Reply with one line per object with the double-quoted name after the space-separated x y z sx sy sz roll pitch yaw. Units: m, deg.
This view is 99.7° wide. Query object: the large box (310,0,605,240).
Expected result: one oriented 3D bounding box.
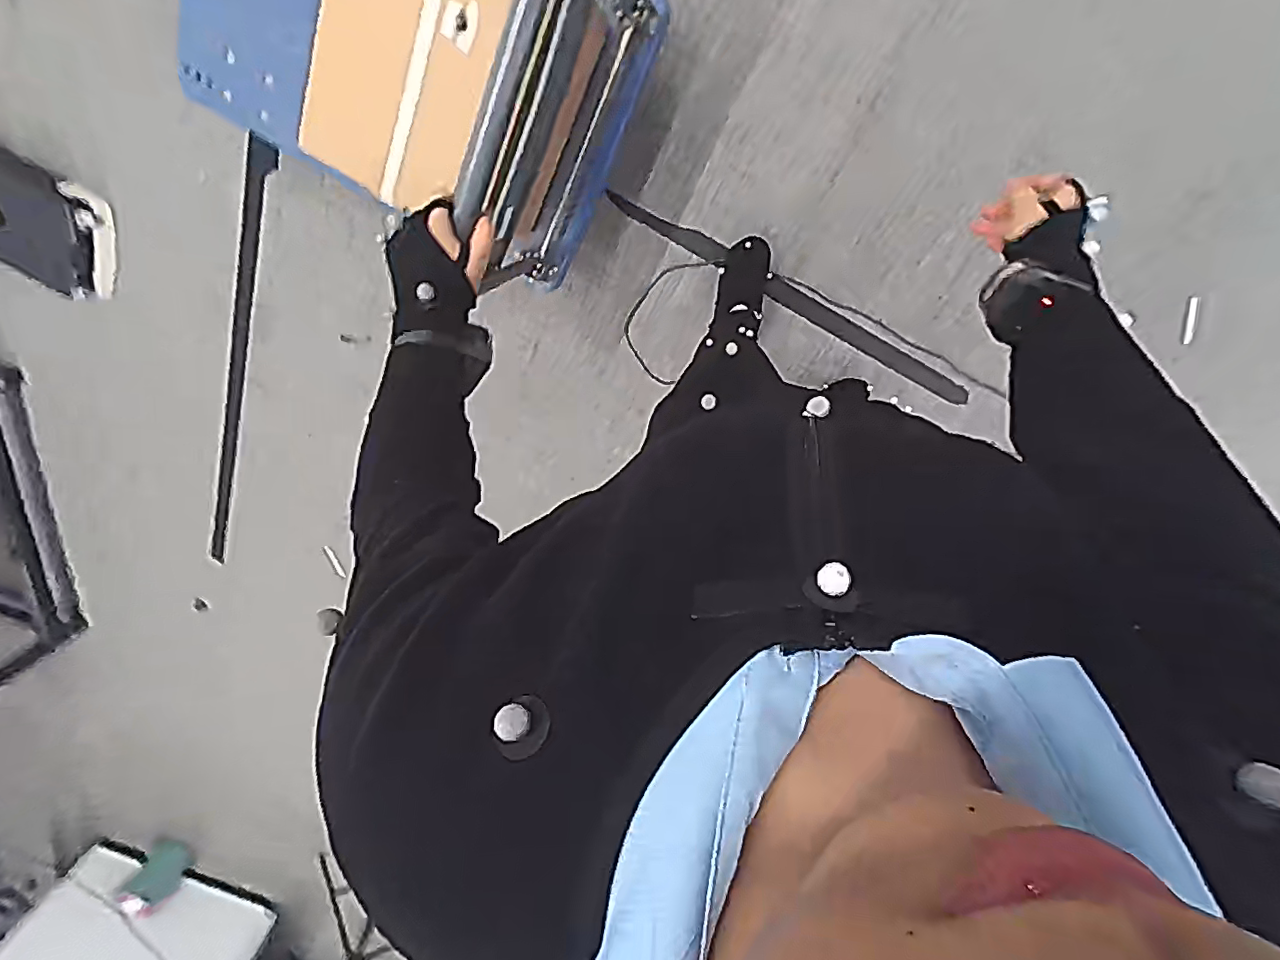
-0.300 -0.682 0.939 0.320 0.320 0.408 27 116 -6 "large box"
